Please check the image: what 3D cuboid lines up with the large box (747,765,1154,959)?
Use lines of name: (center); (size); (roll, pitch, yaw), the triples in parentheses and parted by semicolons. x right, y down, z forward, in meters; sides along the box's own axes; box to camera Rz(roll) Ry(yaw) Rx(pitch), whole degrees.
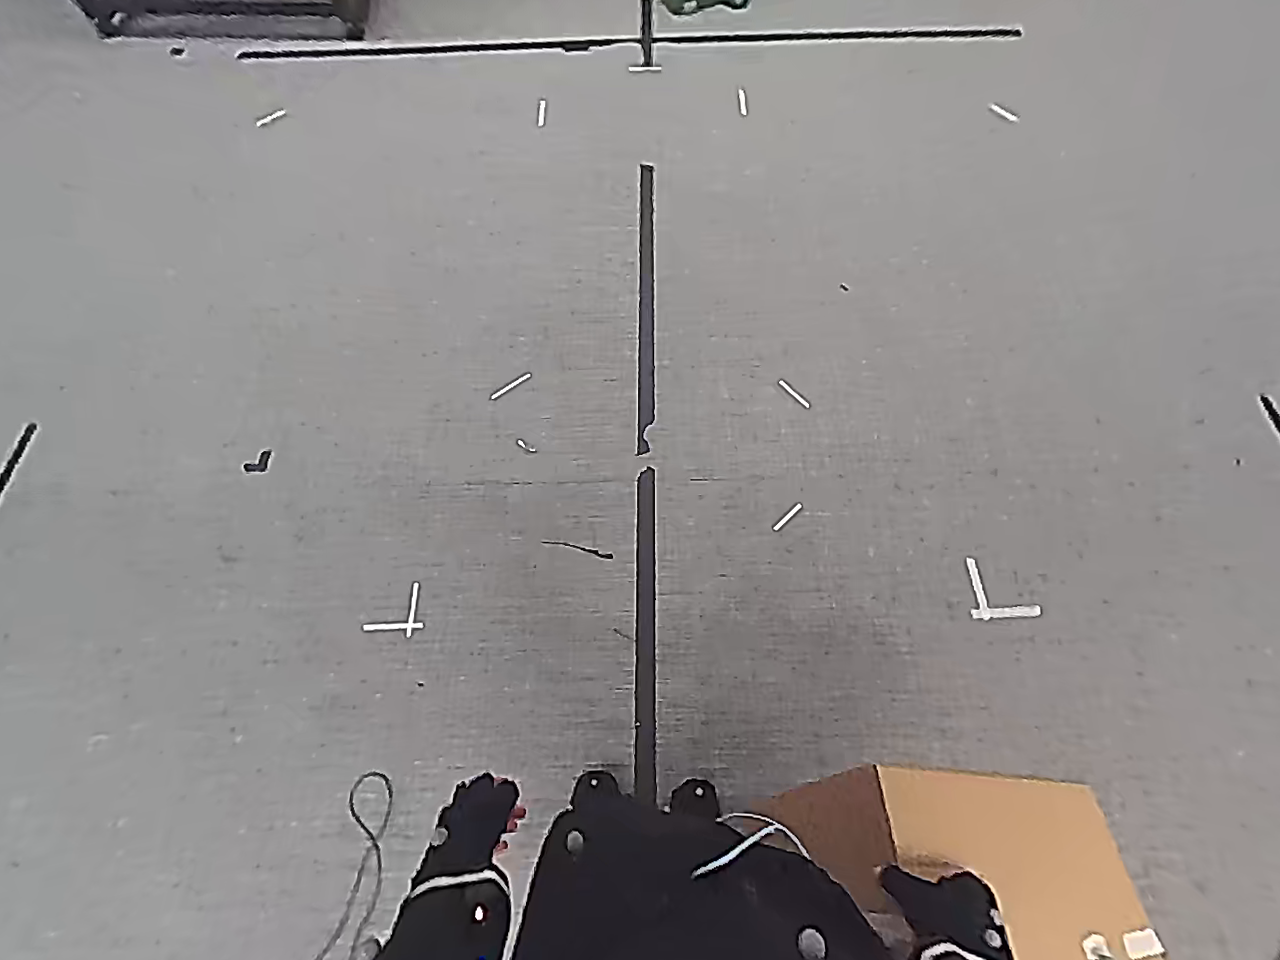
large box: (0.379, 0.604, 0.736); (0.320, 0.408, 0.320); (9, 52, -9)
